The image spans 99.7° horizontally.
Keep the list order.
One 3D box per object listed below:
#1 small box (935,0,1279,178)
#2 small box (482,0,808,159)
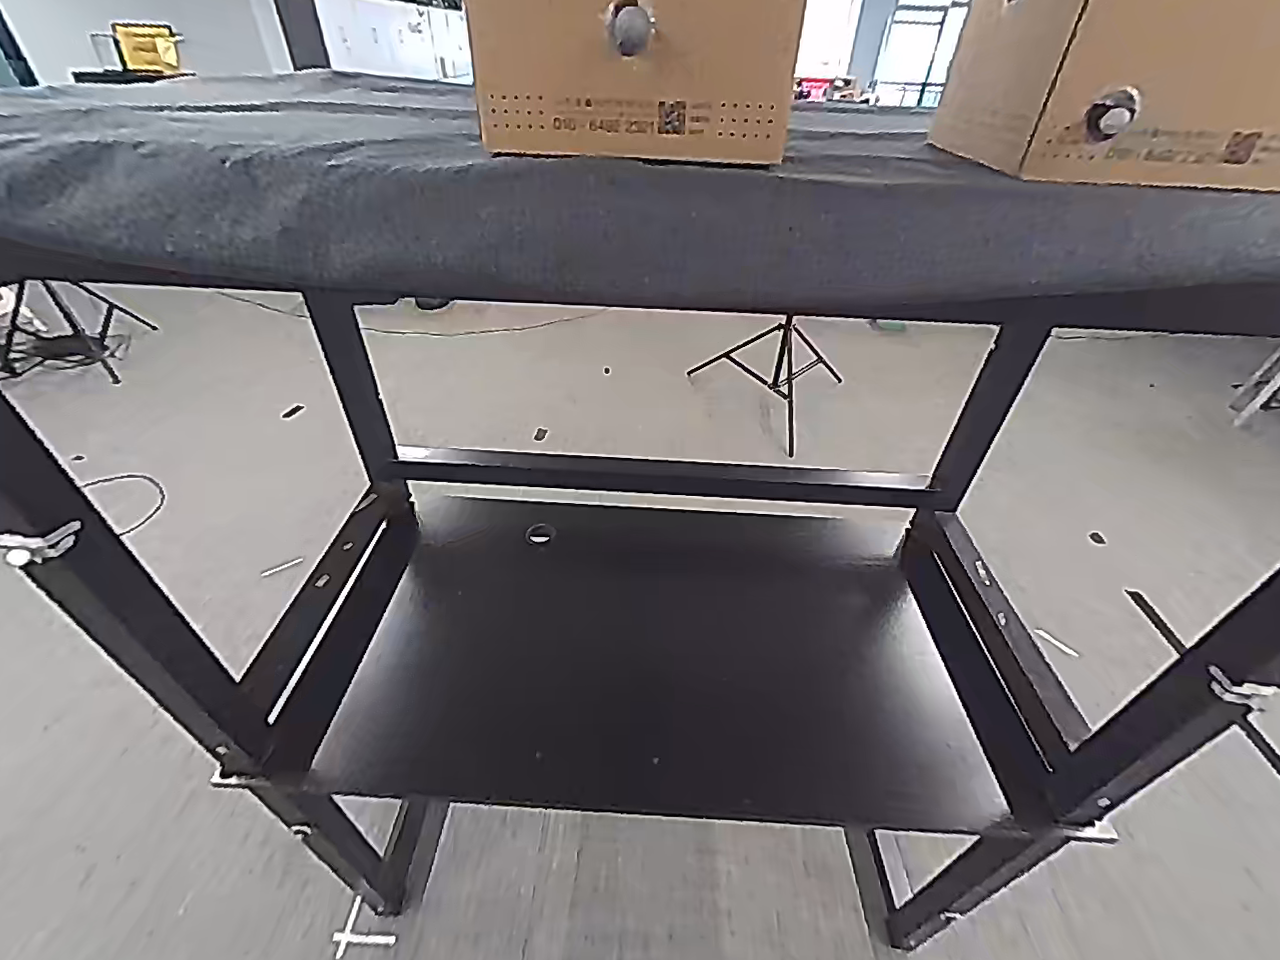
[{"bbox_3d":[0.304,-0.282,0.313,0.168,0.176,0.179,5,37,4],"label":"small box"},{"bbox_3d":[0.004,-0.297,0.315,0.168,0.176,0.179,3,36,1],"label":"small box"}]
